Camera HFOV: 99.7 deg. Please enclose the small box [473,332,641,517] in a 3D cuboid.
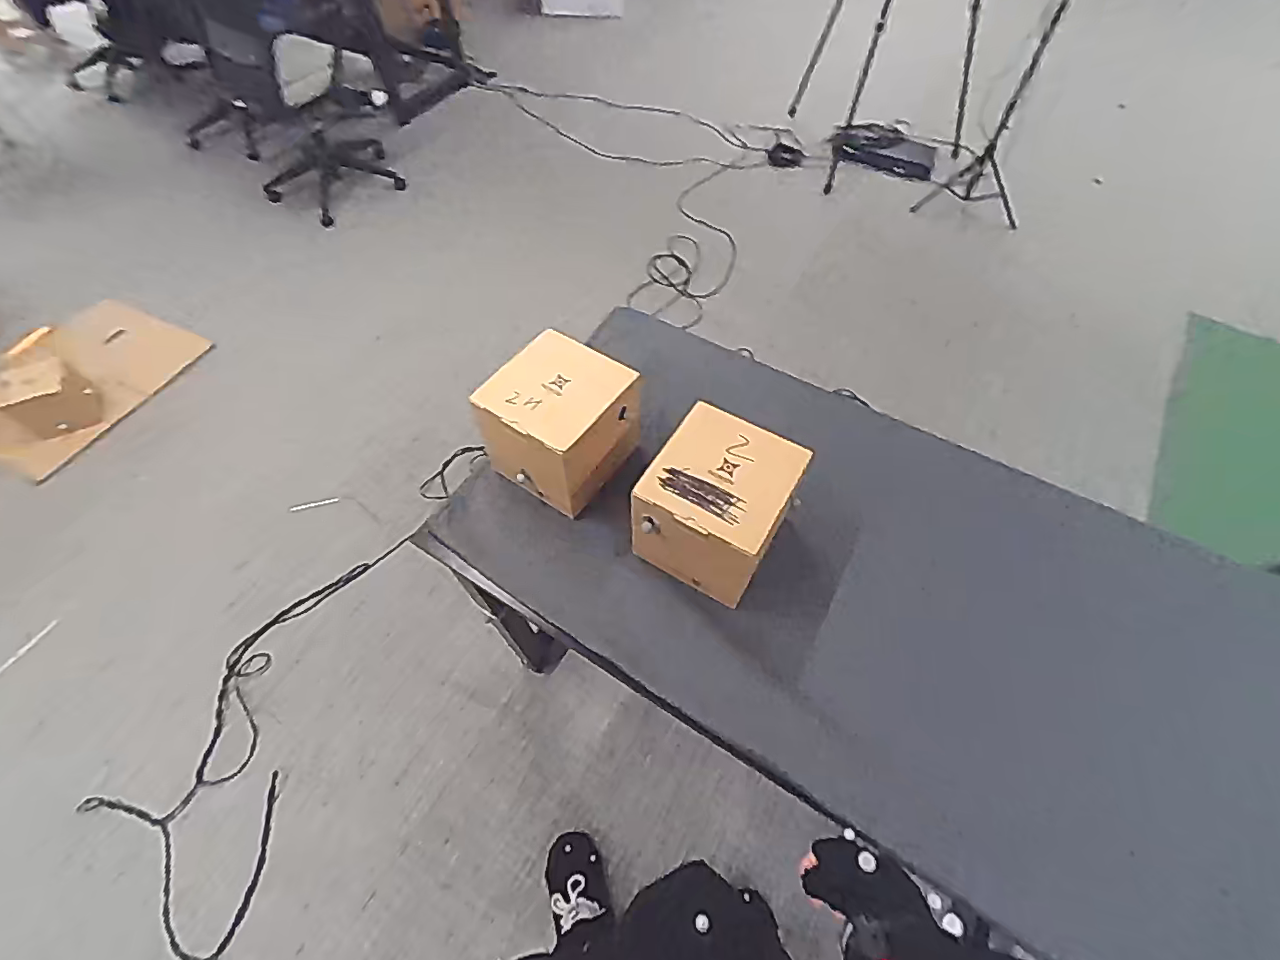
[{"bbox_3d":[-0.115,-0.080,0.808,0.168,0.176,0.179,30,61,18],"label":"small box"}]
